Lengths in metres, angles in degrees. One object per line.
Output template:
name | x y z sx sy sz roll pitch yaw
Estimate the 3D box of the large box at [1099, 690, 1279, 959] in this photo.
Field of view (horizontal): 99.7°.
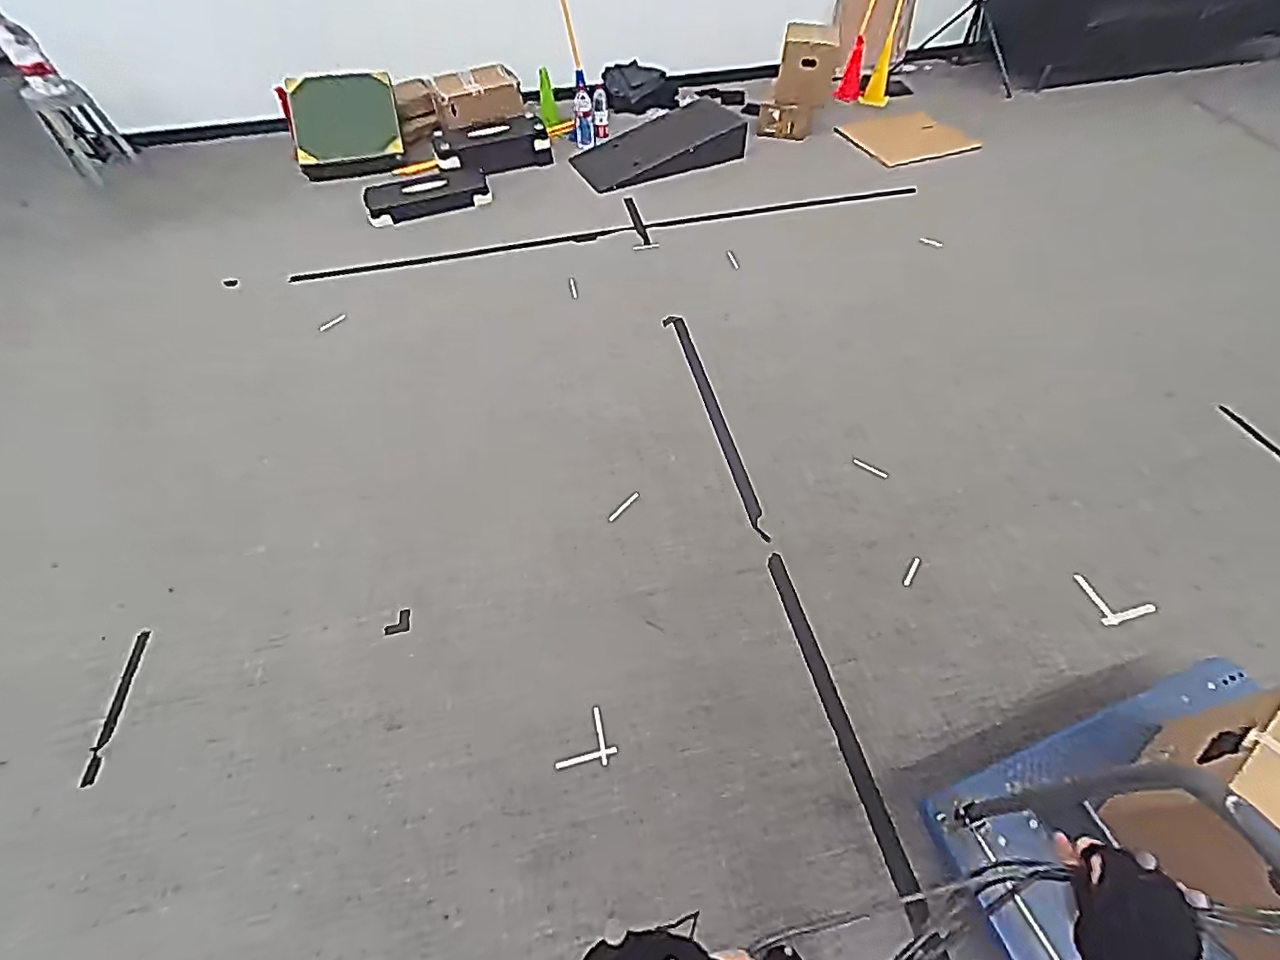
large box | 1.139 0.644 0.914 0.320 0.320 0.408 -31 59 -20
